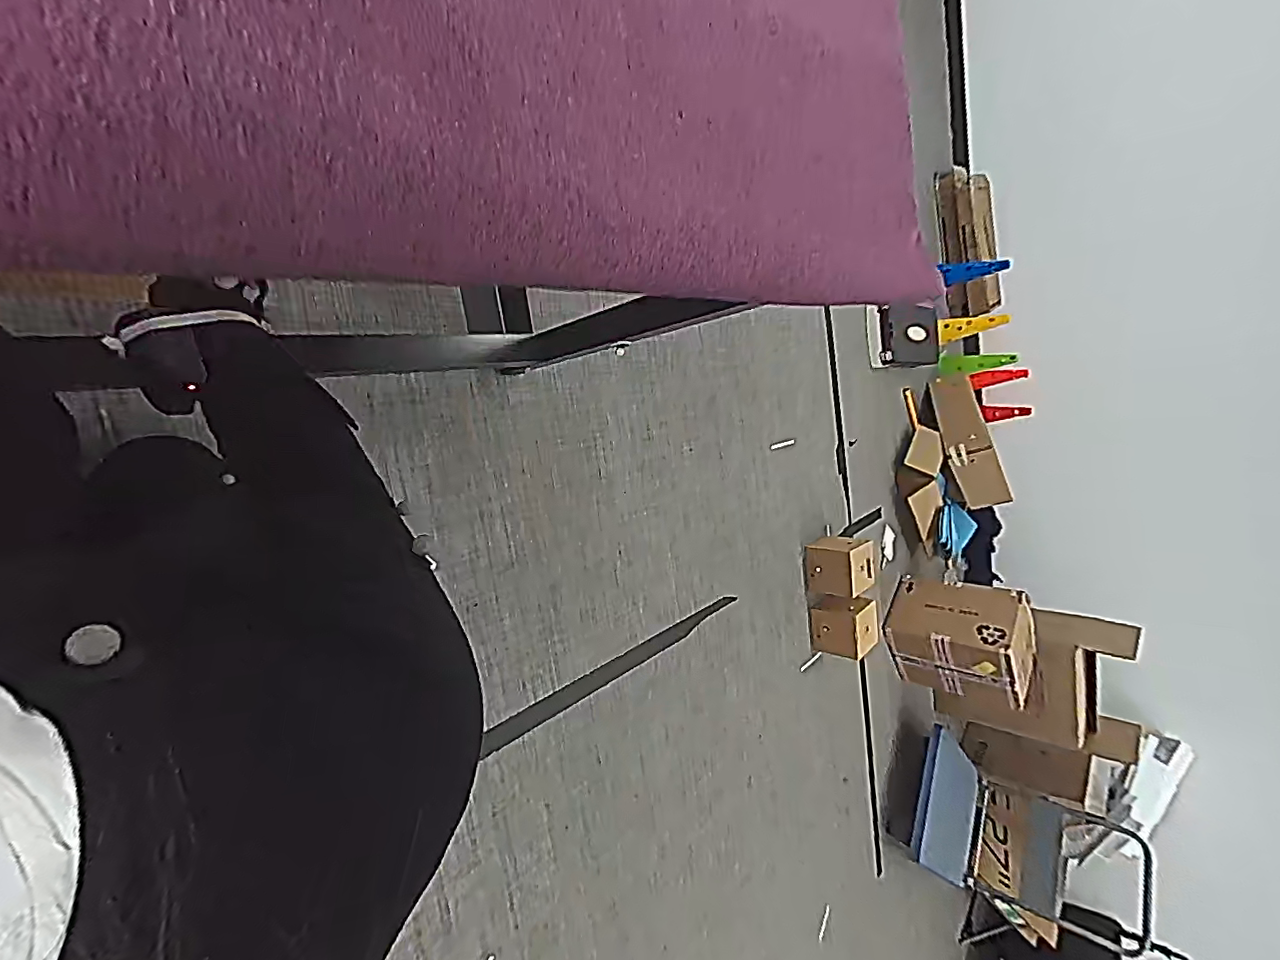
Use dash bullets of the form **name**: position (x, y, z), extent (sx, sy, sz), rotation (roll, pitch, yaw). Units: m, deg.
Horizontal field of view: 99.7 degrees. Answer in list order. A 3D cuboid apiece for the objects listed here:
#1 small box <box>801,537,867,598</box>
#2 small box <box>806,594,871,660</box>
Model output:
- **small box**: position (0.693, 0.306, 1.930), extent (0.179, 0.176, 0.168), rotation (-12, 99, -44)
- **small box**: position (0.724, 0.527, 1.967), extent (0.179, 0.176, 0.168), rotation (-15, 101, -44)
